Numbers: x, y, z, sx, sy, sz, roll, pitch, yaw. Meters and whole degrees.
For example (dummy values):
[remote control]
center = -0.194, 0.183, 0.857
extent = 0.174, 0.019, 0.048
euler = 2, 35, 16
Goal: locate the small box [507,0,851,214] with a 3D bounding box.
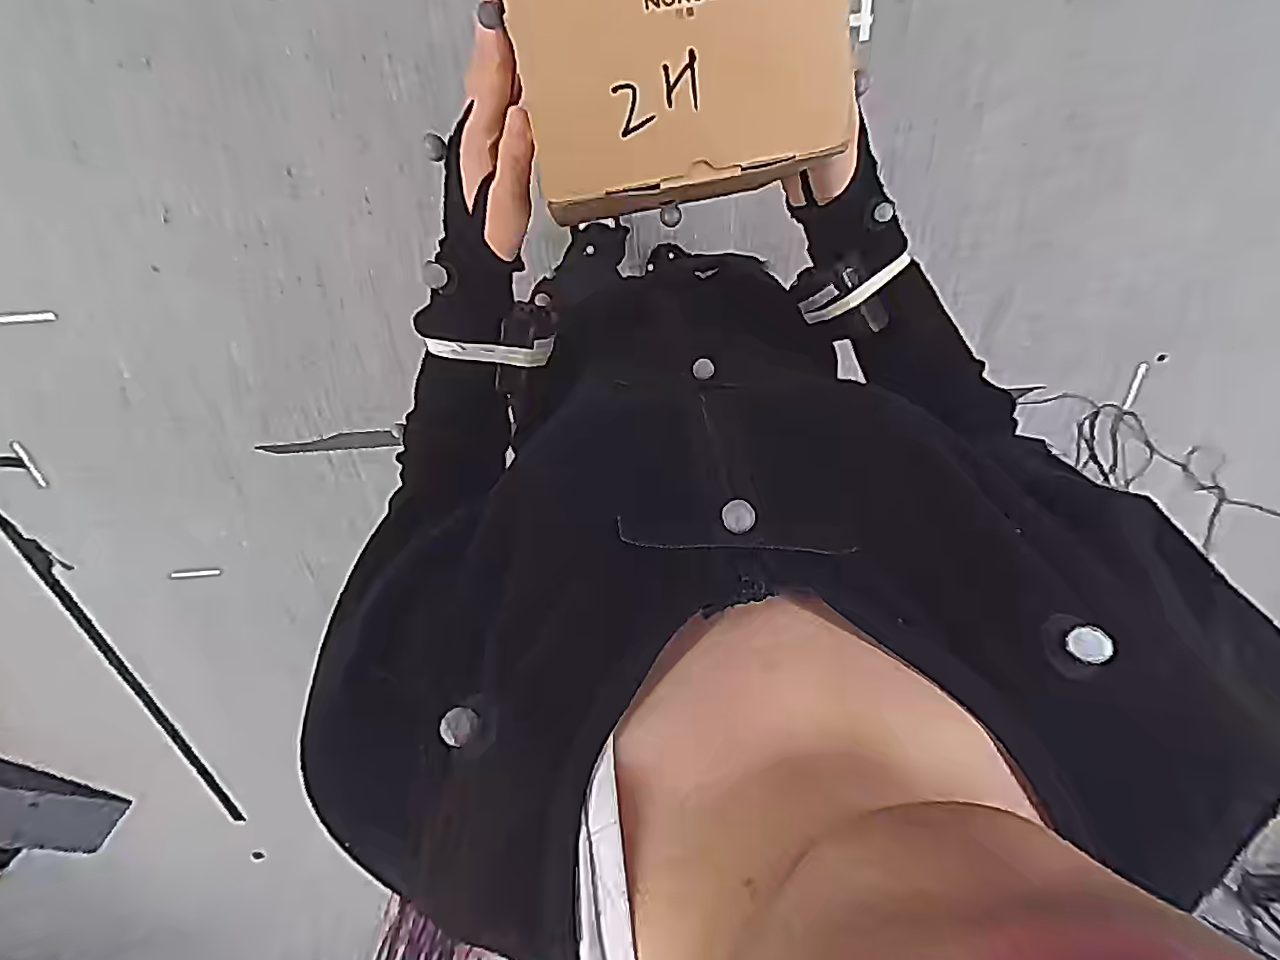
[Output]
[small box]
center = 0.008, -0.273, 0.322
extent = 0.168, 0.176, 0.179
euler = -11, 113, -2
